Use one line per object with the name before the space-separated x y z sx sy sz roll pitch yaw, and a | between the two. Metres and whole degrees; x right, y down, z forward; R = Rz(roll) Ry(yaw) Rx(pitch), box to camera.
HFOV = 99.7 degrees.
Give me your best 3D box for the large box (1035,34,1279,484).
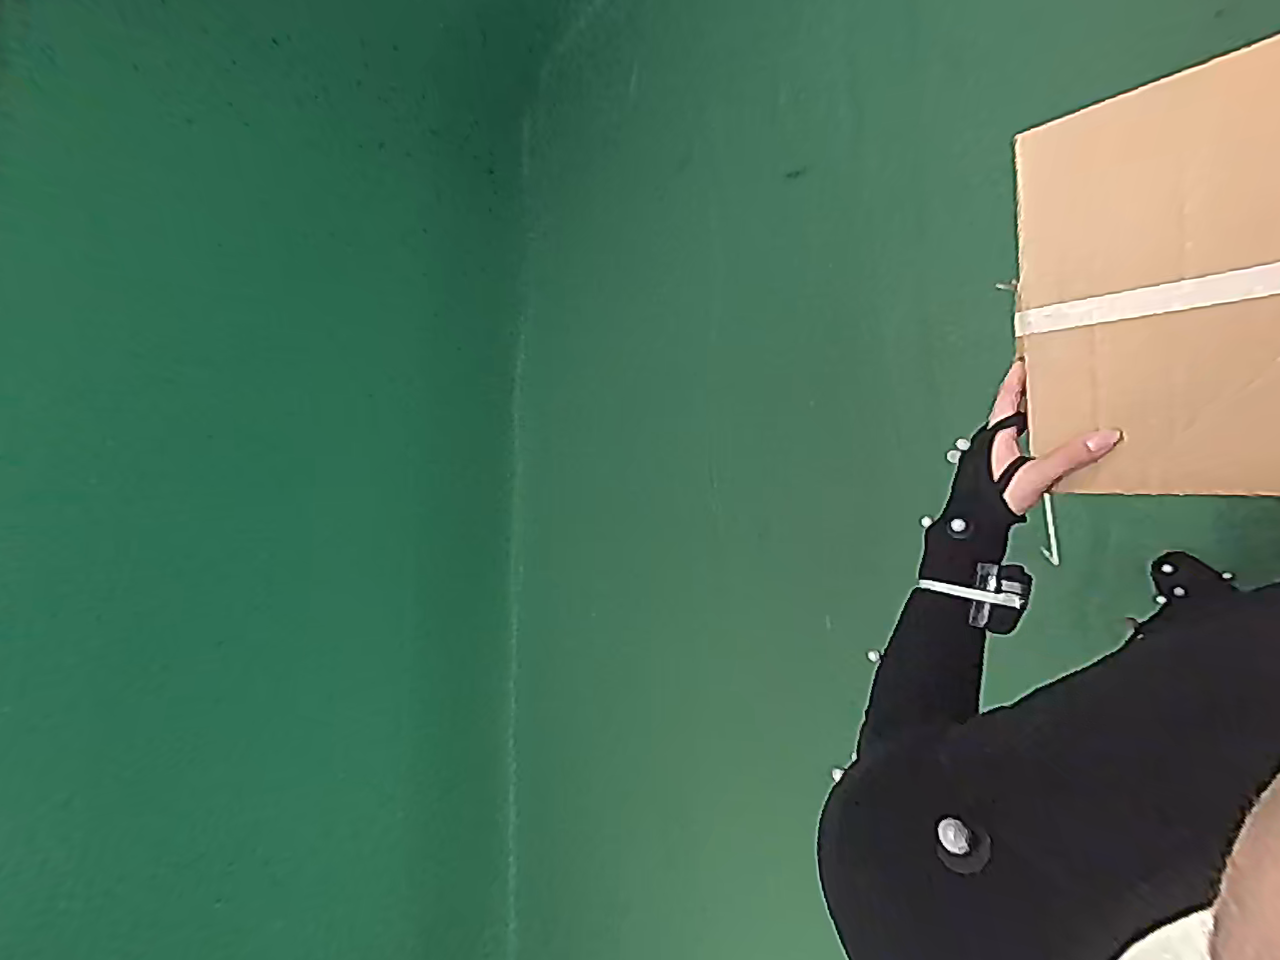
large box | 0.600 -0.176 0.446 0.408 0.320 0.320 0 100 44
